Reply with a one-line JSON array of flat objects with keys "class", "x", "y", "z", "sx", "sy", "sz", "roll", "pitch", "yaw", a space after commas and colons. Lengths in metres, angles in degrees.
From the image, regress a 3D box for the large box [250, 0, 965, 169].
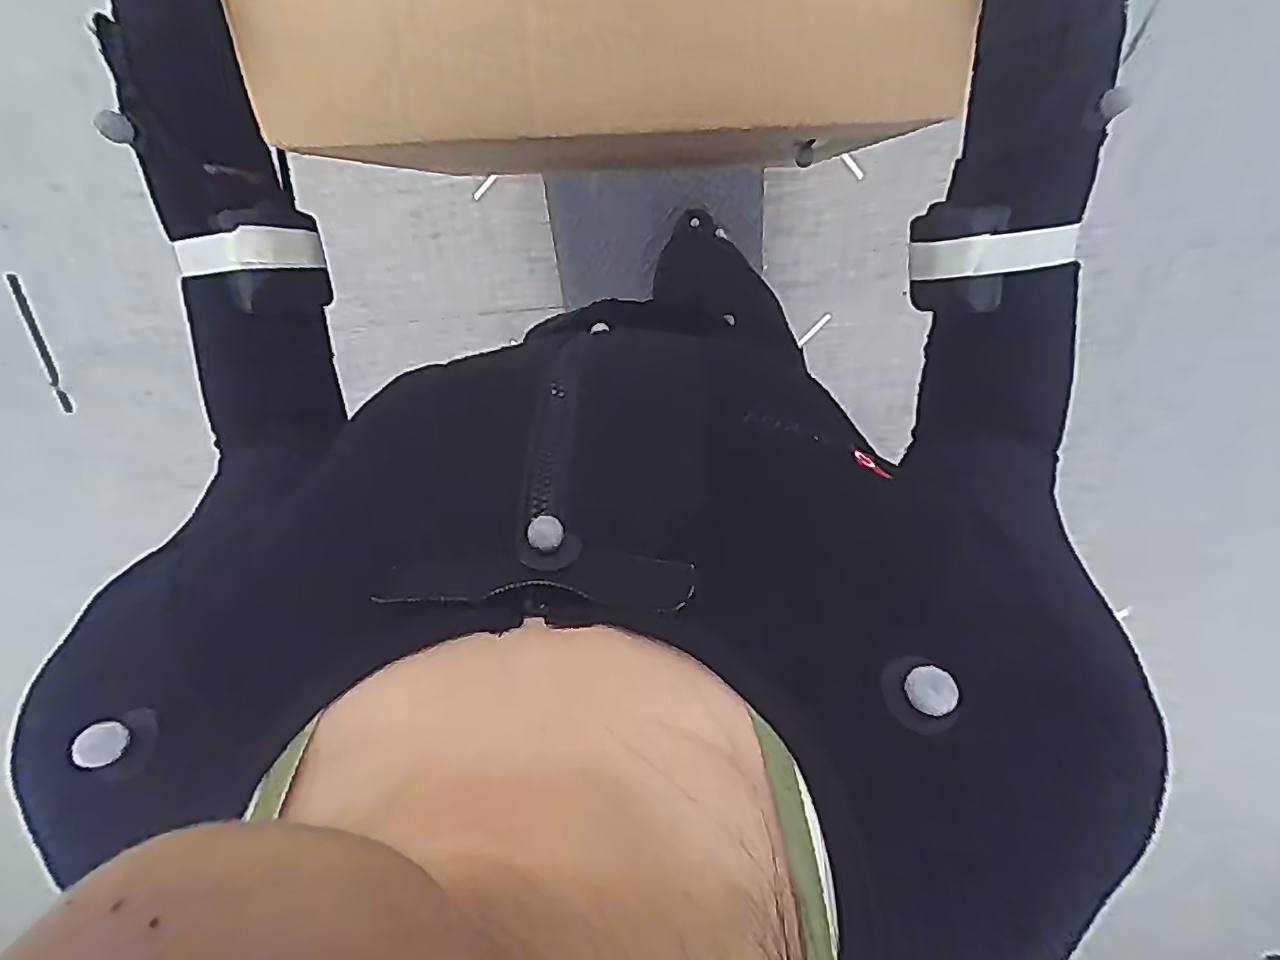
[{"class": "large box", "x": -0.018, "y": -0.416, "z": 0.389, "sx": 0.408, "sy": 0.320, "sz": 0.320, "roll": -1, "pitch": 116, "yaw": 3}]
